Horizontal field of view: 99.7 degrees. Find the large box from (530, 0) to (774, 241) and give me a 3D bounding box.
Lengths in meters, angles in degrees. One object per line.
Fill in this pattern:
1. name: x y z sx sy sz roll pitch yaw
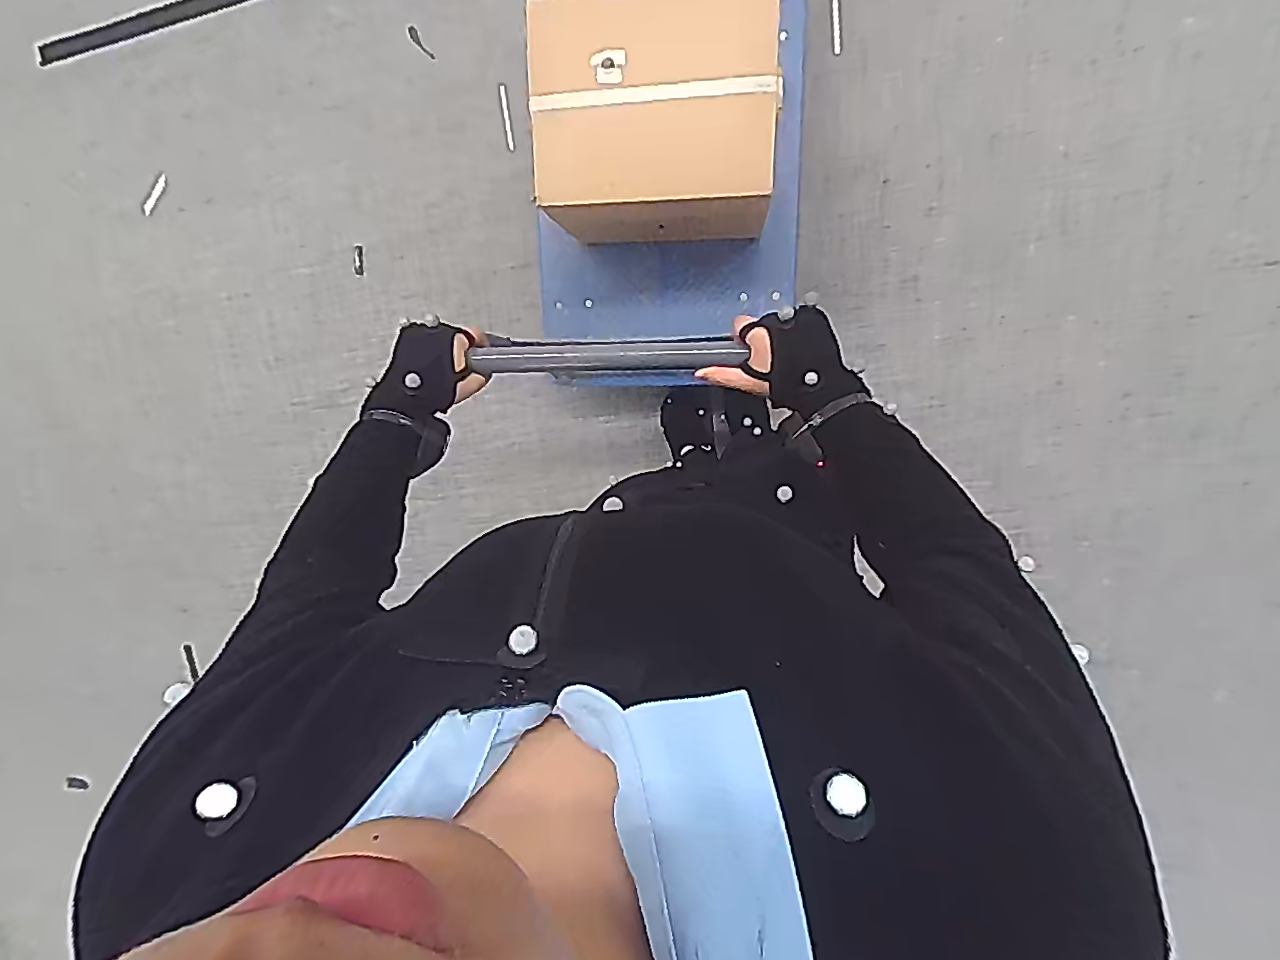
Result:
1. large box: 0.041 -0.662 1.039 0.408 0.320 0.320 1 102 9
